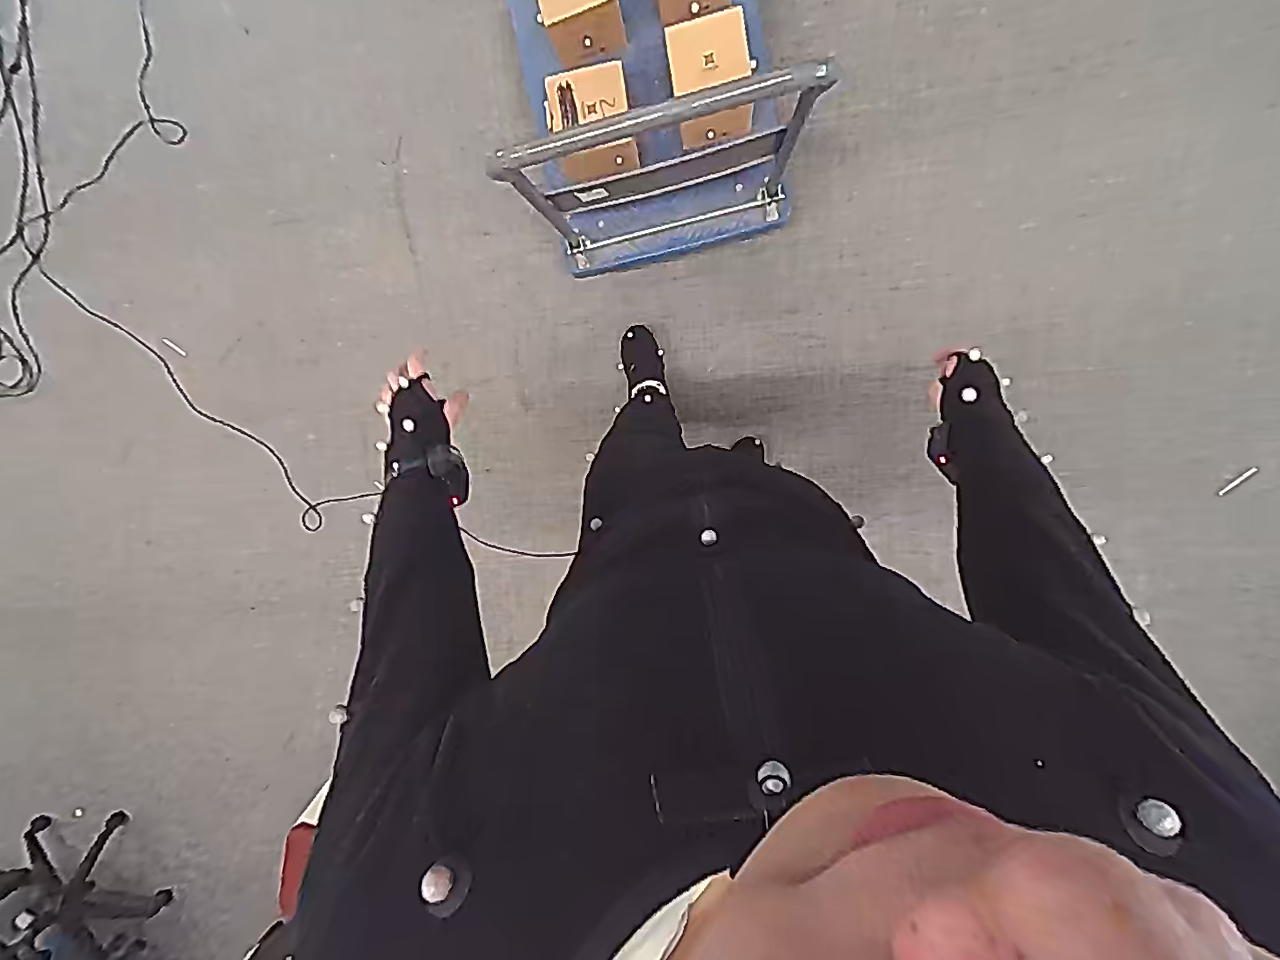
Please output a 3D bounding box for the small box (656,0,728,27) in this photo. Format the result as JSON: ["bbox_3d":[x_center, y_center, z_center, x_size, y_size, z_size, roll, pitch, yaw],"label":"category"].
[{"bbox_3d":[0.099,-1.164,1.191,0.168,0.176,0.179,-14,98,11],"label":"small box"}]

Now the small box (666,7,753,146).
[{"bbox_3d":[0.156,-0.902,1.227,0.168,0.176,0.179,-10,98,9],"label":"small box"}]

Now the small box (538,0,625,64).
[{"bbox_3d":[-0.140,-1.100,1.235,0.168,0.176,0.179,-15,97,9],"label":"small box"}]
